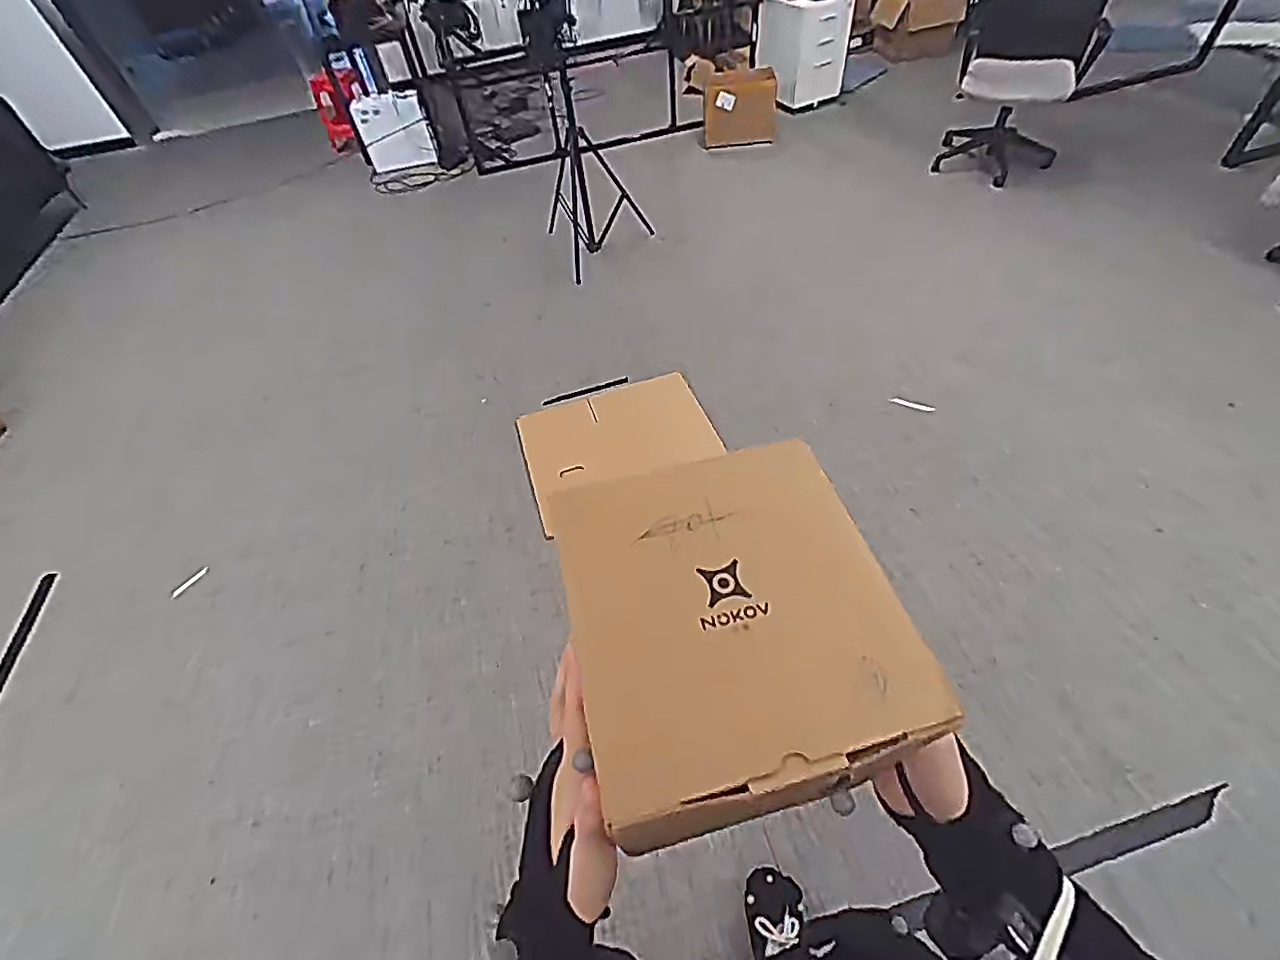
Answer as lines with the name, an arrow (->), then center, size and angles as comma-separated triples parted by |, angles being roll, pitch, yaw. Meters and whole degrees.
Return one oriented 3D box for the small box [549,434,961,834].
small box -> 0.048, 0.103, 0.342 | 0.168, 0.176, 0.179 | -13, 52, -8
